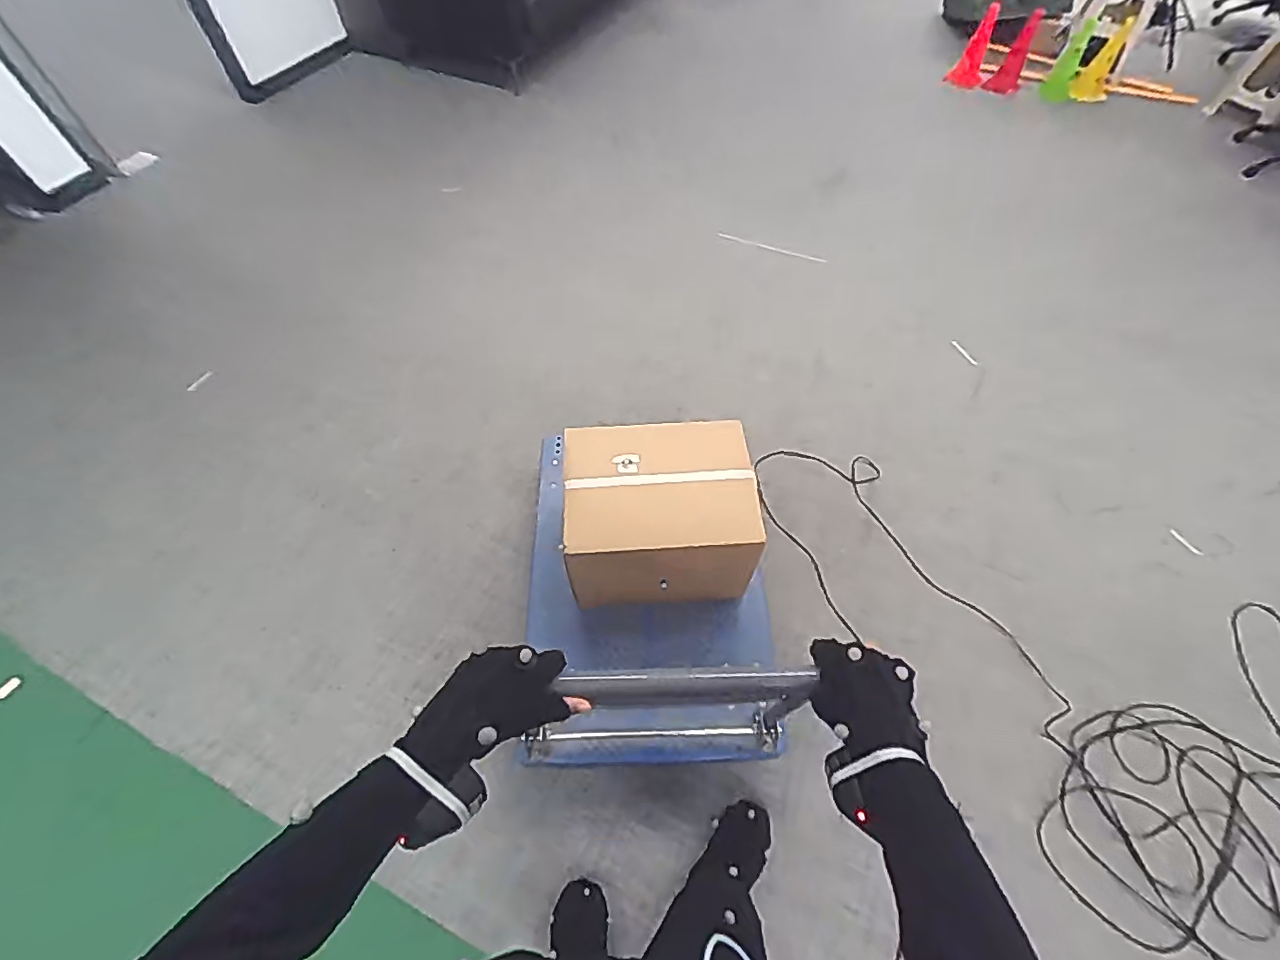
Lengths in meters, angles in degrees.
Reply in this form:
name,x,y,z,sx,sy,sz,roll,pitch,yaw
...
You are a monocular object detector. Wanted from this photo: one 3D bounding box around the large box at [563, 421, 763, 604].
name,x,y,z,sx,sy,sz,roll,pitch,yaw
large box,0.039,0.086,1.274,0.408,0.320,0.320,-4,57,-2
